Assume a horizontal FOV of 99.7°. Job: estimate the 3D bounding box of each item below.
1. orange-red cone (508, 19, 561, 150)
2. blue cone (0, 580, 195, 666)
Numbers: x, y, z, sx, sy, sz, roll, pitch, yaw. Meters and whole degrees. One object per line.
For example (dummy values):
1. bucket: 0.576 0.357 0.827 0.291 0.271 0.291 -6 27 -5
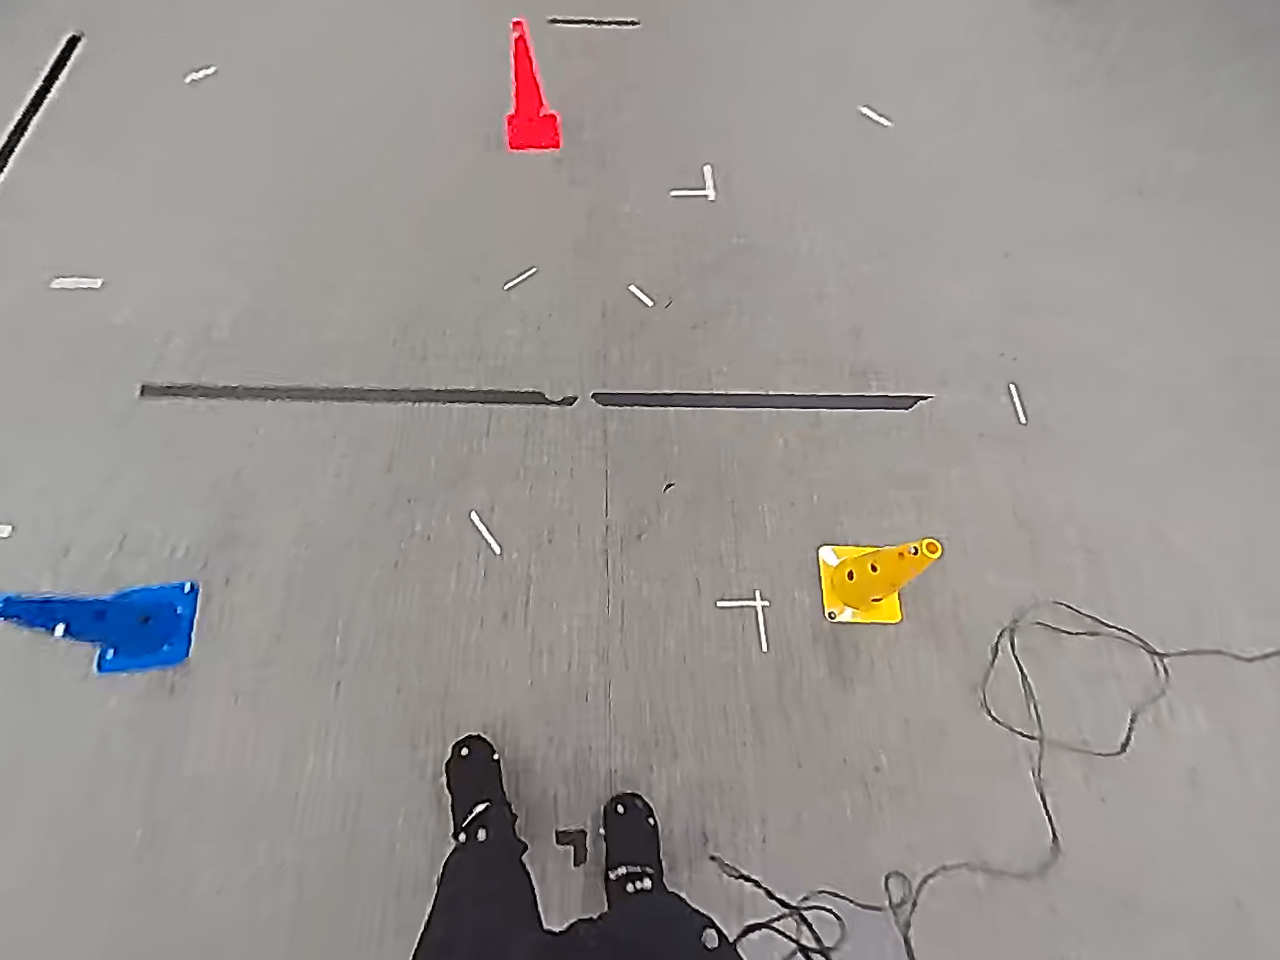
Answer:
1. orange-red cone: -0.390 -1.366 1.858 0.199 0.360 0.198 -5 67 -3
2. blue cone: -1.176 0.281 1.150 0.193 0.380 0.192 -5 68 -4
